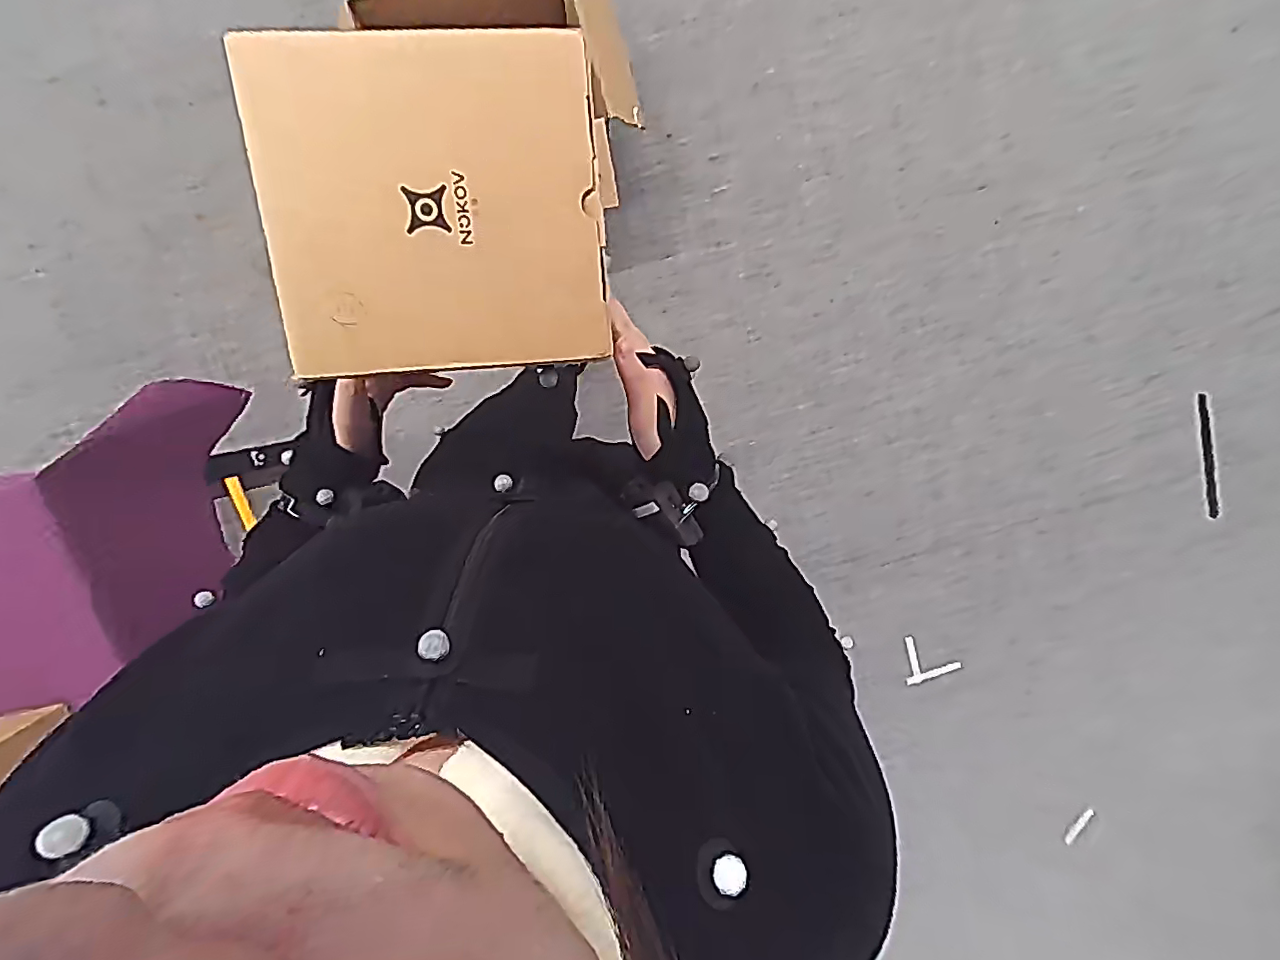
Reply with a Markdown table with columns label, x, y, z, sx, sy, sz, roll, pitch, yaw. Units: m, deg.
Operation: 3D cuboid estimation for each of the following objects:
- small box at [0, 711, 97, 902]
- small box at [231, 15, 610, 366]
| label | x | y | z | sx | sy | sz | roll | pitch | yaw |
| --- | --- | --- | --- | --- | --- | --- | --- | --- | --- |
| small box | -0.841 | 0.415 | 0.668 | 0.179 | 0.176 | 0.168 | -12 | 100 | -1 |
| small box | -0.116 | -0.165 | 0.362 | 0.179 | 0.176 | 0.168 | -6 | 103 | -6 |
